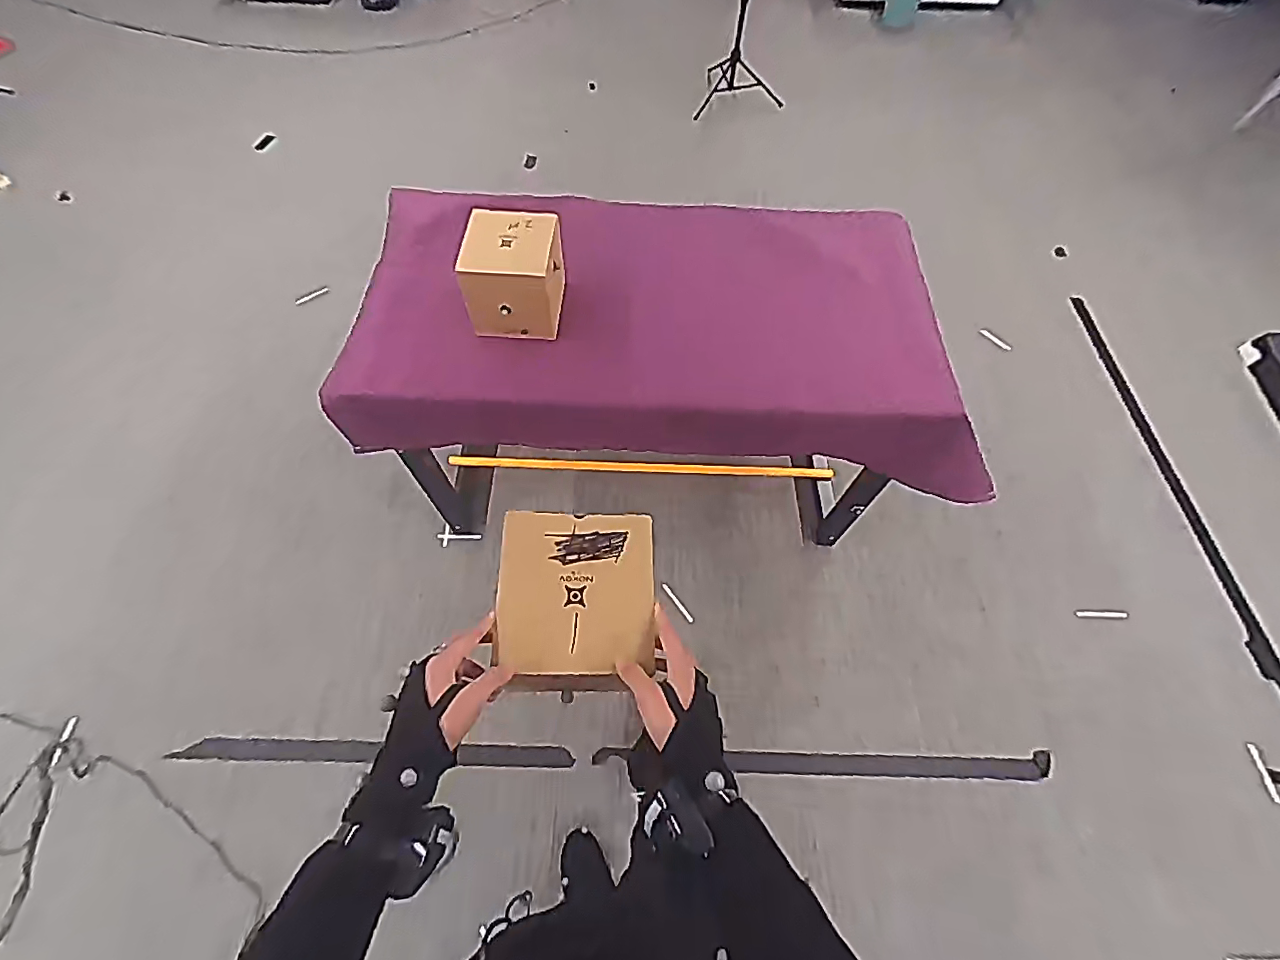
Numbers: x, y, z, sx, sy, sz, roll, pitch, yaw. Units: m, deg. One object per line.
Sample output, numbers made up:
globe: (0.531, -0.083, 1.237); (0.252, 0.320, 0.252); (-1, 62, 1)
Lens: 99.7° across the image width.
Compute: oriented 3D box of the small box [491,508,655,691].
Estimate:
small box: (-0.075, 0.149, 0.644); (0.168, 0.176, 0.179); (2, 64, -6)

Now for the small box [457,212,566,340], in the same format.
small box: (-0.244, -0.400, 1.077); (0.168, 0.176, 0.179); (4, 61, 0)
